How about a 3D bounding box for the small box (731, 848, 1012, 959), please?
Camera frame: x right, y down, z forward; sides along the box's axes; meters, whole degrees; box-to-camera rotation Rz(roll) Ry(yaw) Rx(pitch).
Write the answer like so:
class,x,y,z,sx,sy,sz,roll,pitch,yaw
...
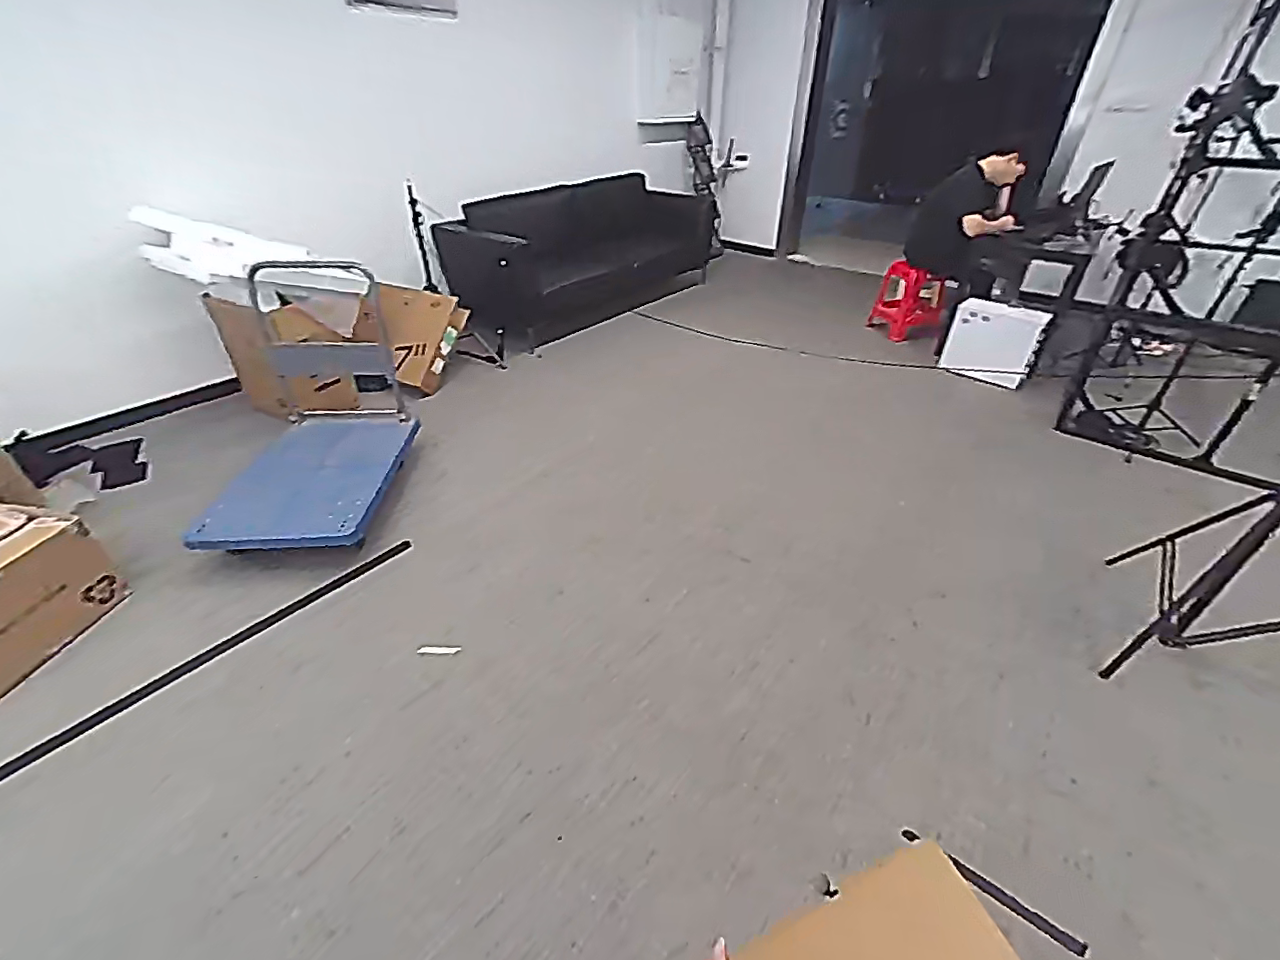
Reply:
class,x,y,z,sx,sy,sz,roll,pitch,yaw
small box,0.151,0.382,0.351,0.179,0.176,0.168,-15,48,-22
